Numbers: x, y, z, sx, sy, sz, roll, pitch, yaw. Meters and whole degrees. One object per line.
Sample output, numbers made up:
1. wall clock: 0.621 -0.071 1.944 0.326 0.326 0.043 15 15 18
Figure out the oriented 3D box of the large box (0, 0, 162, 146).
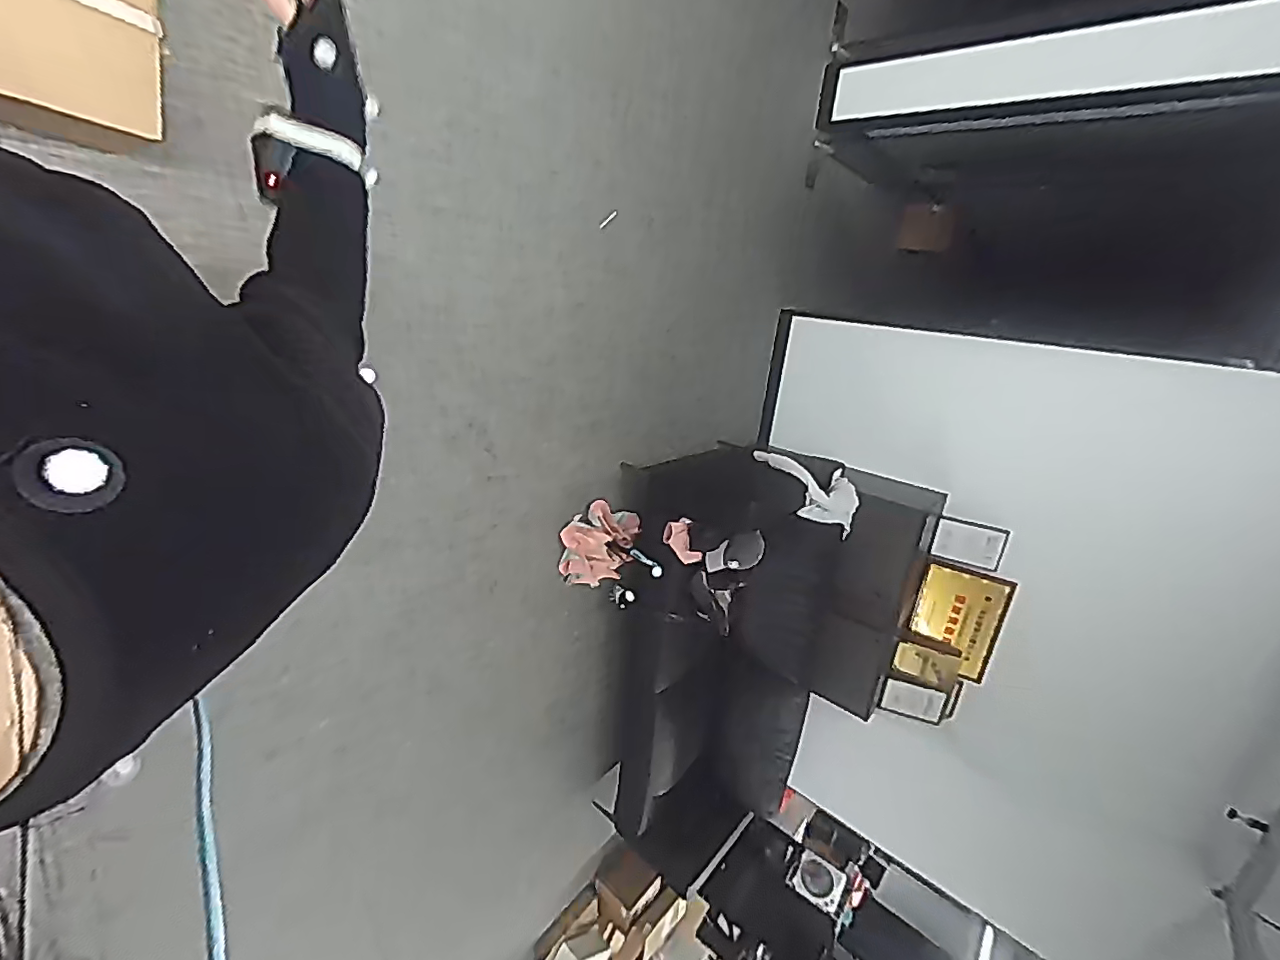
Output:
1. large box: -0.977 -0.716 0.764 0.408 0.320 0.320 -7 112 -50
